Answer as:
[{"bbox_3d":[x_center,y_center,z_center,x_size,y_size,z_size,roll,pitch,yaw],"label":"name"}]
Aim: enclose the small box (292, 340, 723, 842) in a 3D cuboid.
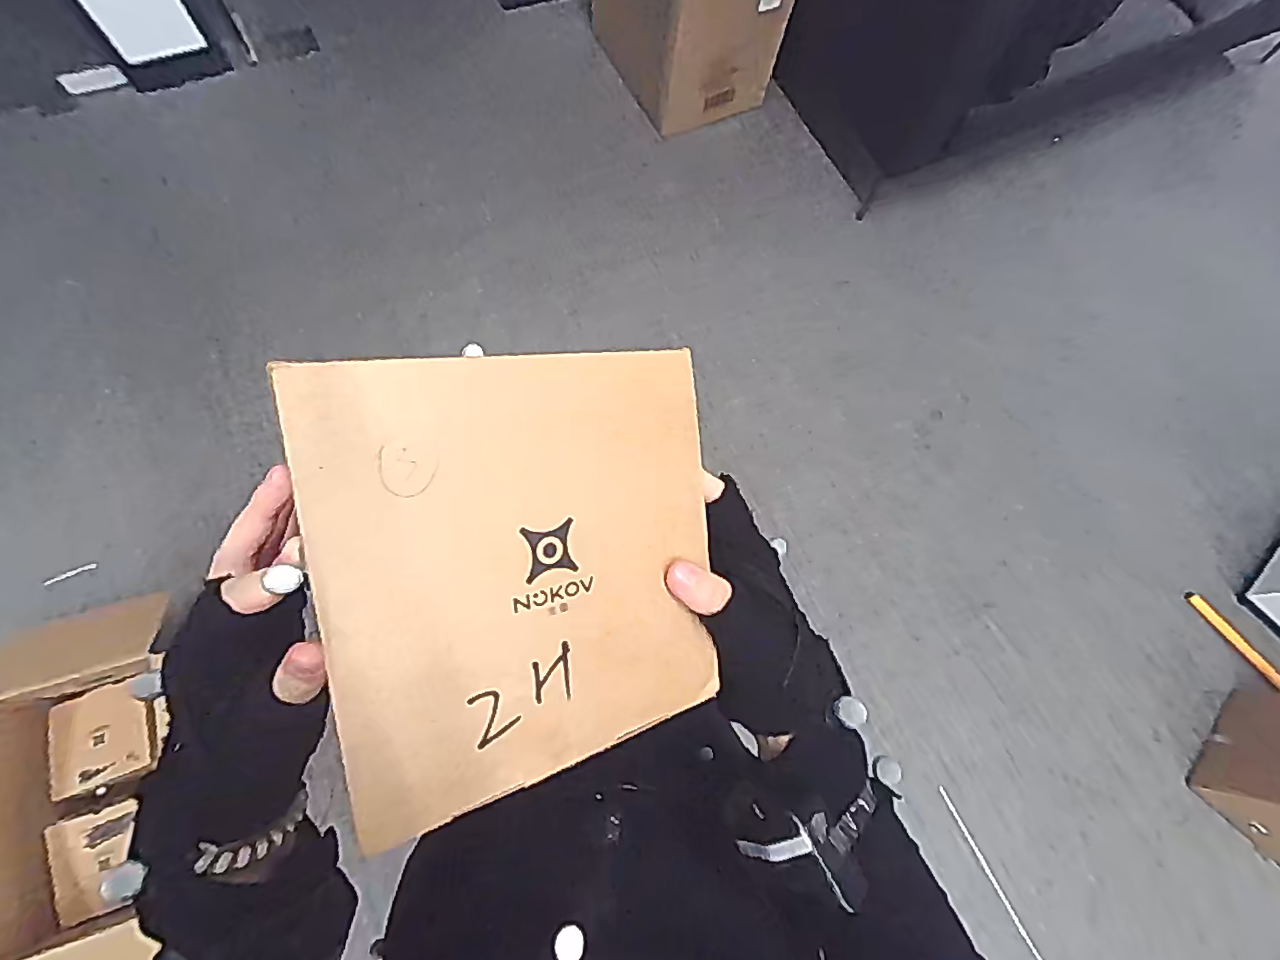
[{"bbox_3d":[-0.077,0.028,0.288,0.168,0.176,0.179,-10,98,-32],"label":"small box"}]
